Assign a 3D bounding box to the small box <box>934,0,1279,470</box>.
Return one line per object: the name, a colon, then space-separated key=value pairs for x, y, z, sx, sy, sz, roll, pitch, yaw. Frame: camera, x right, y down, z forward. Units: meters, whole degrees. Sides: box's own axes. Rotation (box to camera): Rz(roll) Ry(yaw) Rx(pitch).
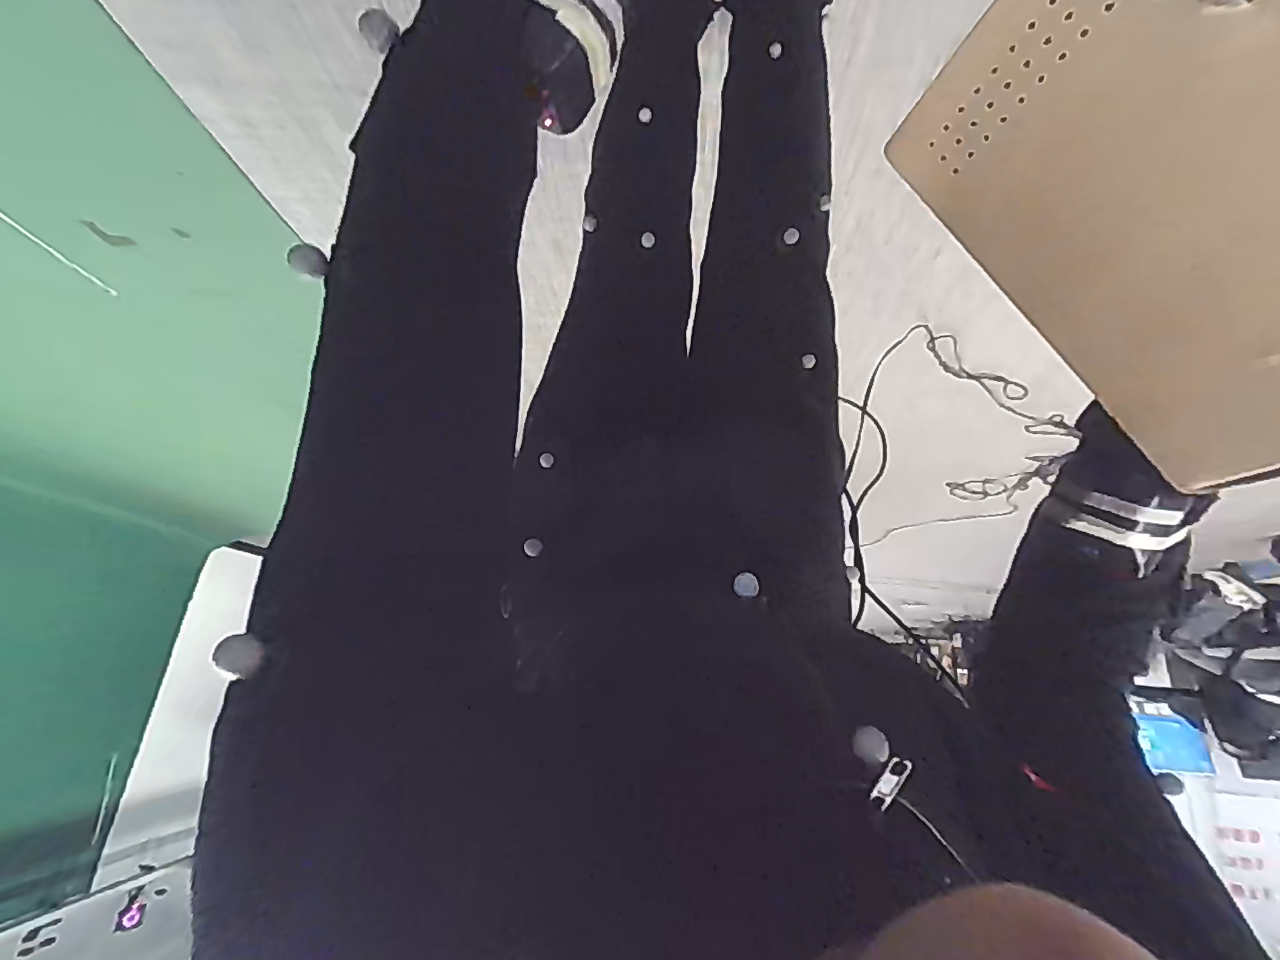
small box: x=0.222 y=-0.134 z=0.151 sx=0.168 sy=0.176 sz=0.179 roll=-33 pitch=173 yaw=-23
